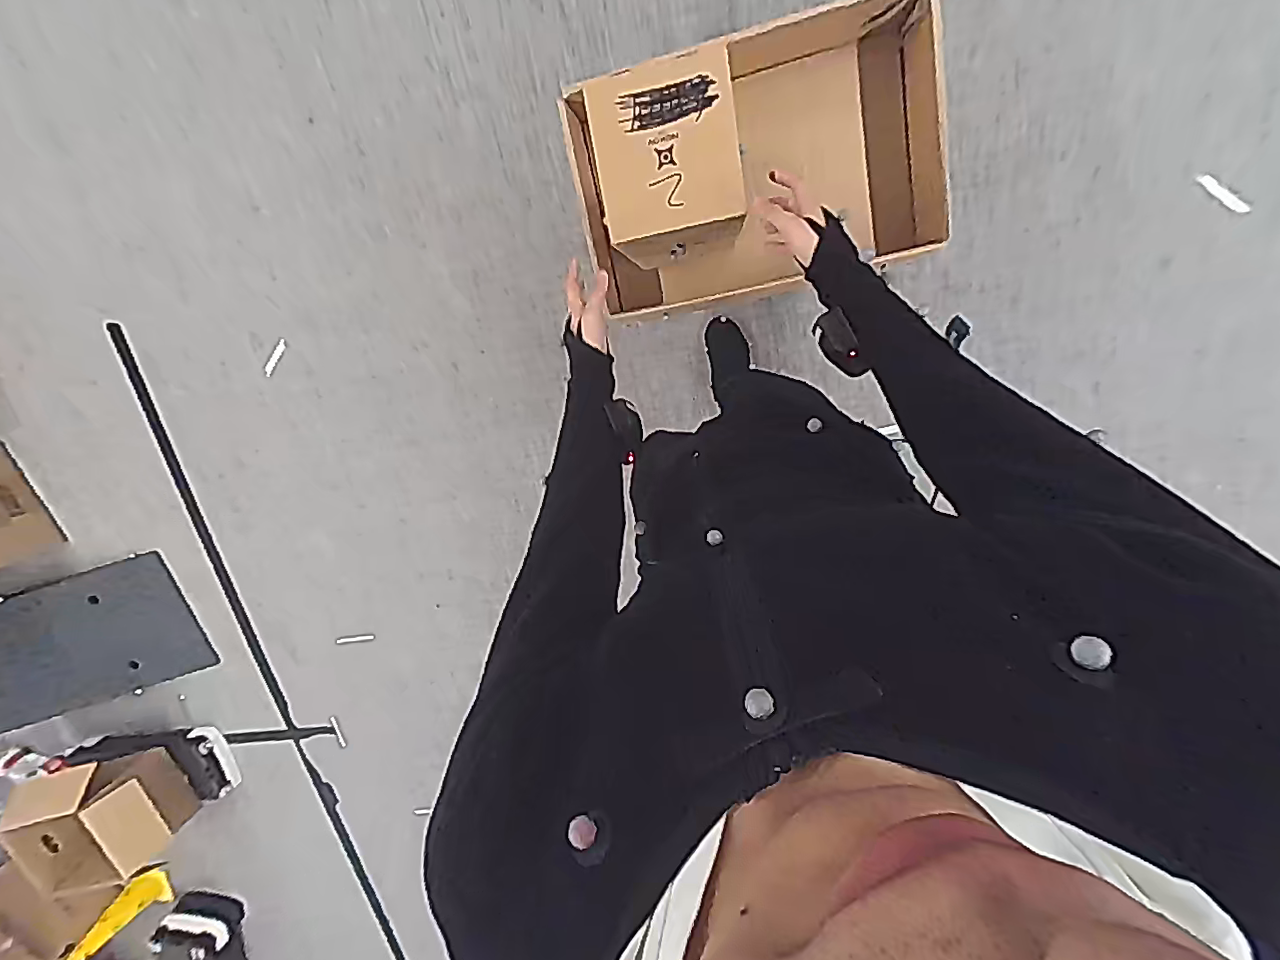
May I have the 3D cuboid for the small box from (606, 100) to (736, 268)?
[{"bbox_3d":[0.054,-0.448,0.849,0.168,0.176,0.179,-9,104,11],"label":"small box"}]
